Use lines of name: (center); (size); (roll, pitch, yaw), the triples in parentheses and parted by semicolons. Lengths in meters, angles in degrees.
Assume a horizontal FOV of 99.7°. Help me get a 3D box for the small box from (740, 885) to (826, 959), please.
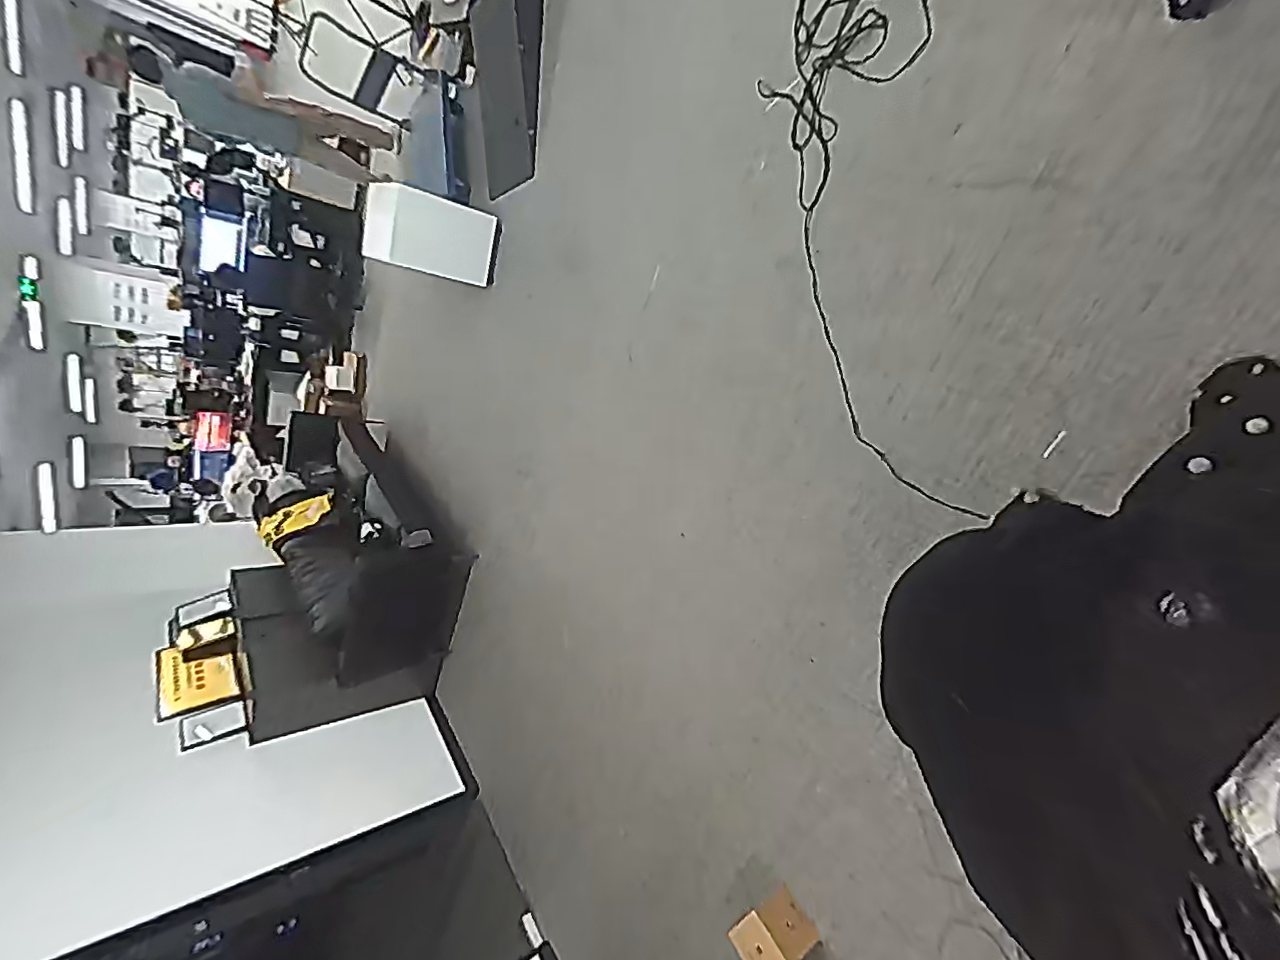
small box: (0.458, 1.436, 1.710); (0.168, 0.176, 0.179); (48, 124, 37)
